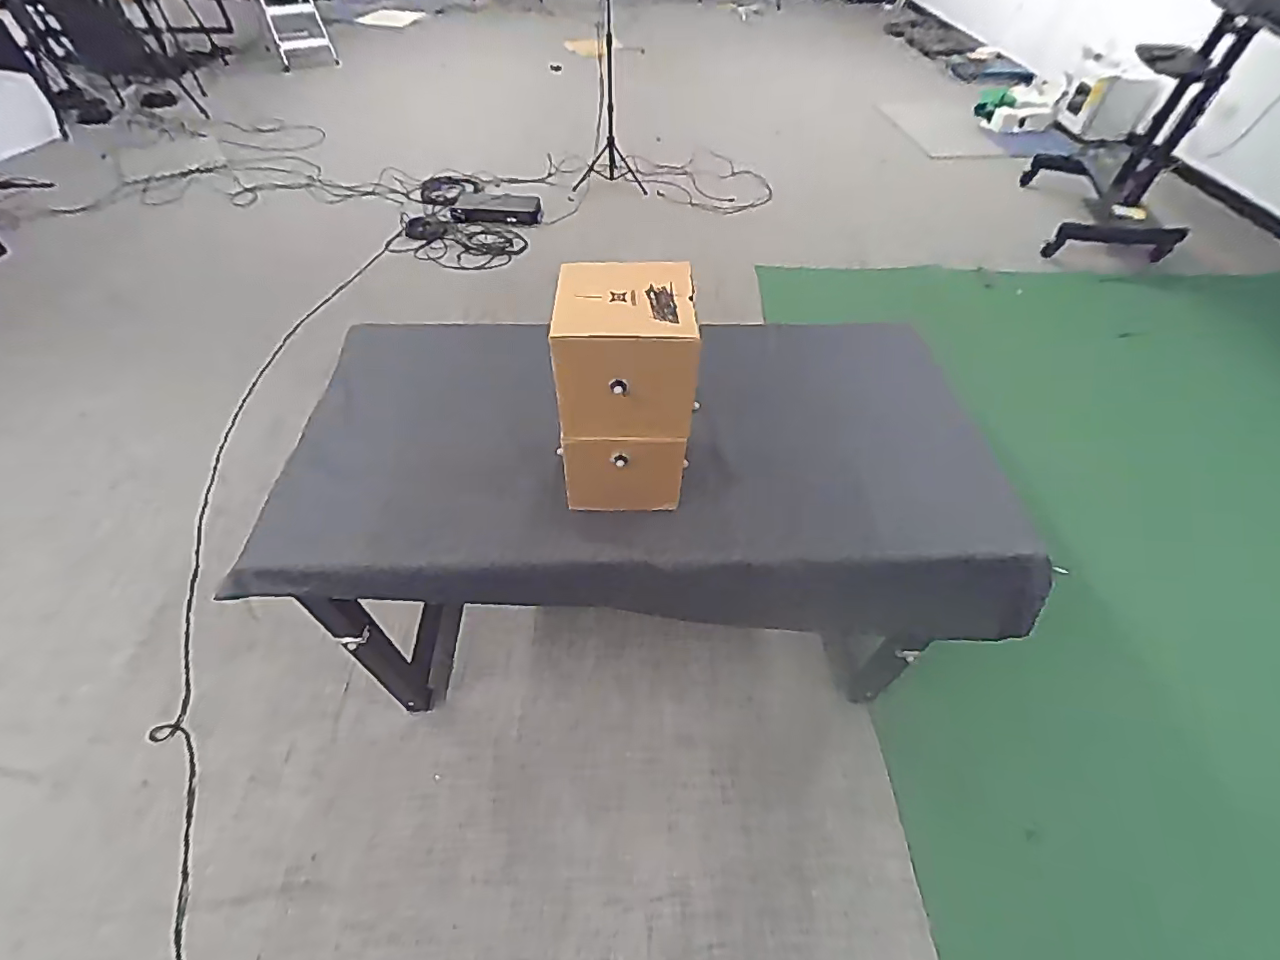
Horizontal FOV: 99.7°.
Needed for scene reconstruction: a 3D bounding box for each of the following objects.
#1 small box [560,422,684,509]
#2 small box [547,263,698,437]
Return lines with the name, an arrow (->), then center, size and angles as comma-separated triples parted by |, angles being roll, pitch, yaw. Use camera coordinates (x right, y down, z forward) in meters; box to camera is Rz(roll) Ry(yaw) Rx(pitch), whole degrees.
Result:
small box -> -0.028, -0.065, 0.858 | 0.179, 0.176, 0.168 | 1, 51, -3
small box -> -0.020, -0.171, 0.732 | 0.179, 0.176, 0.168 | 0, 51, 0
